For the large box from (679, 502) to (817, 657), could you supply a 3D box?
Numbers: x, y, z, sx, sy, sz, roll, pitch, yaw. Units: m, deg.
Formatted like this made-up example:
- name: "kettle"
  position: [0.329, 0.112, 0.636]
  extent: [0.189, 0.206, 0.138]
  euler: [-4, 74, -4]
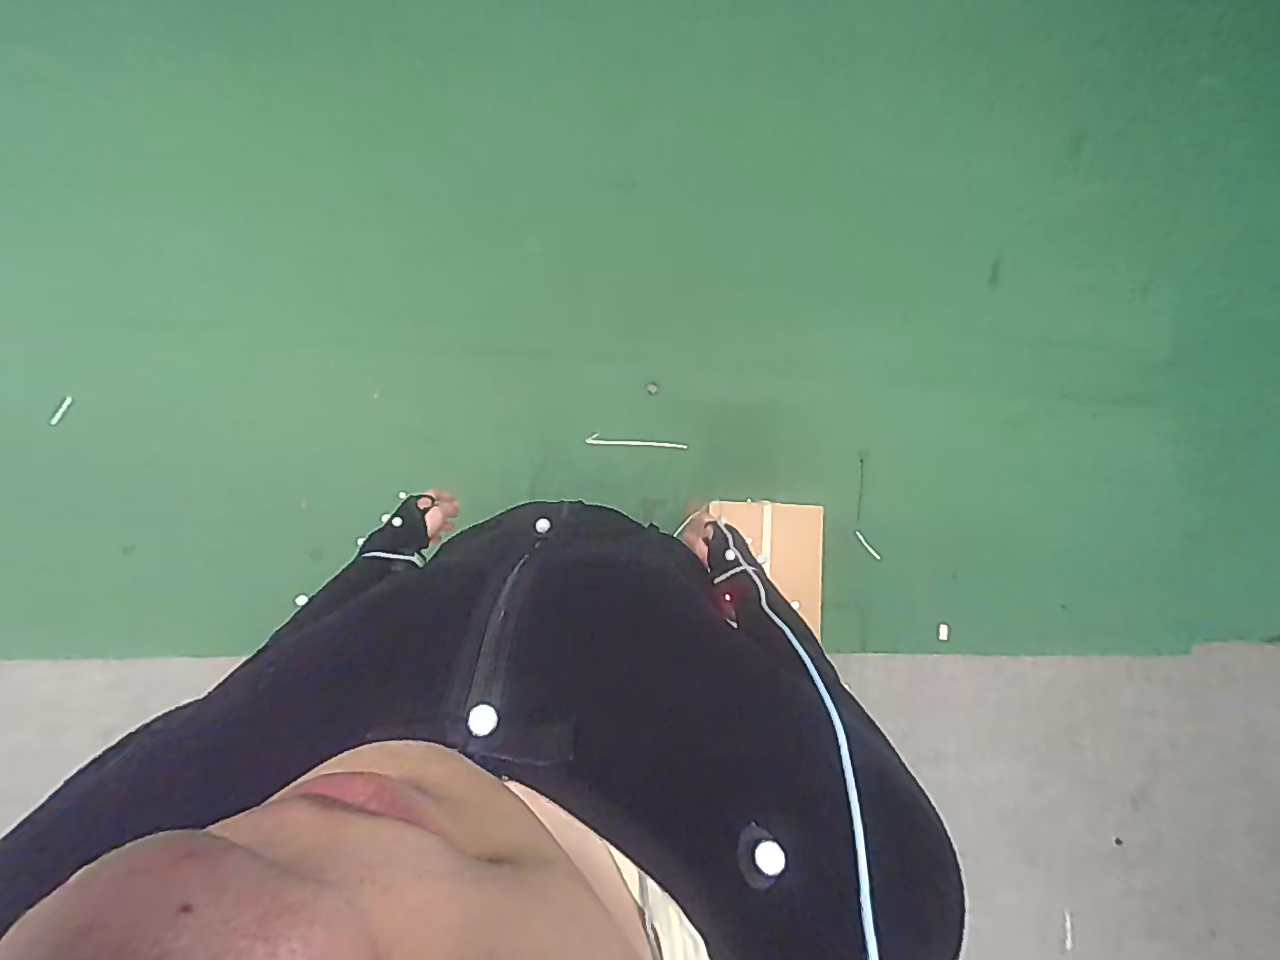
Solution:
- name: "large box"
  position: [0.295, 0.266, 1.554]
  extent: [0.320, 0.320, 0.408]
  euler: [3, 86, -7]
